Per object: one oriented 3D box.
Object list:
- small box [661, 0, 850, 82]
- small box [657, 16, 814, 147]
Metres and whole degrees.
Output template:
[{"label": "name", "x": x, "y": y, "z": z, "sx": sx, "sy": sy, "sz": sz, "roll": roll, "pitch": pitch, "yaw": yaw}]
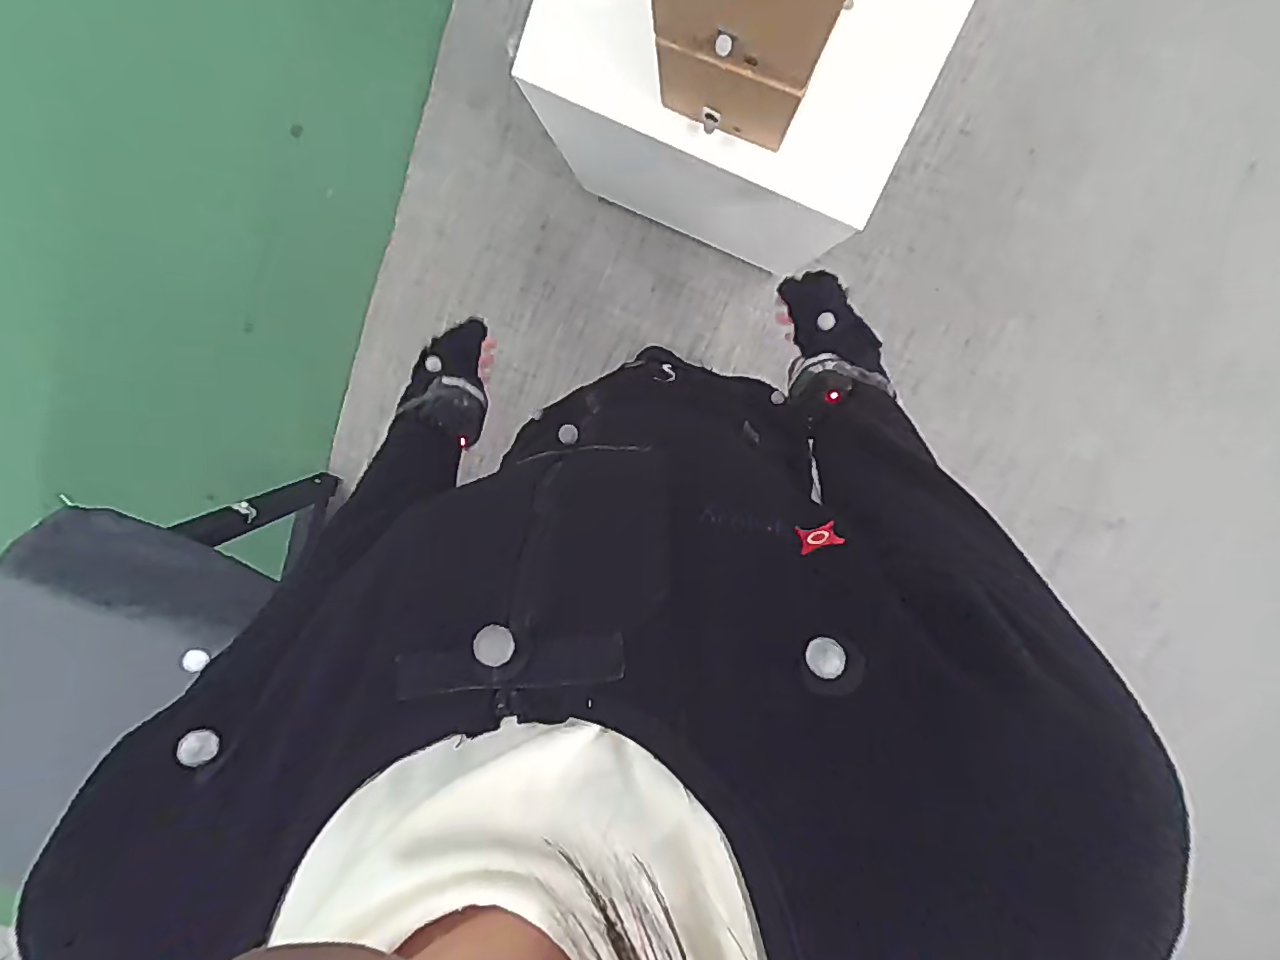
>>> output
[{"label": "small box", "x": 0.112, "y": -0.478, "z": 0.438, "sx": 0.168, "sy": 0.176, "sz": 0.179, "roll": 18, "pitch": 103, "yaw": 1}, {"label": "small box", "x": 0.128, "y": -0.511, "z": 0.598, "sx": 0.168, "sy": 0.176, "sz": 0.179, "roll": 21, "pitch": 106, "yaw": 1}]
